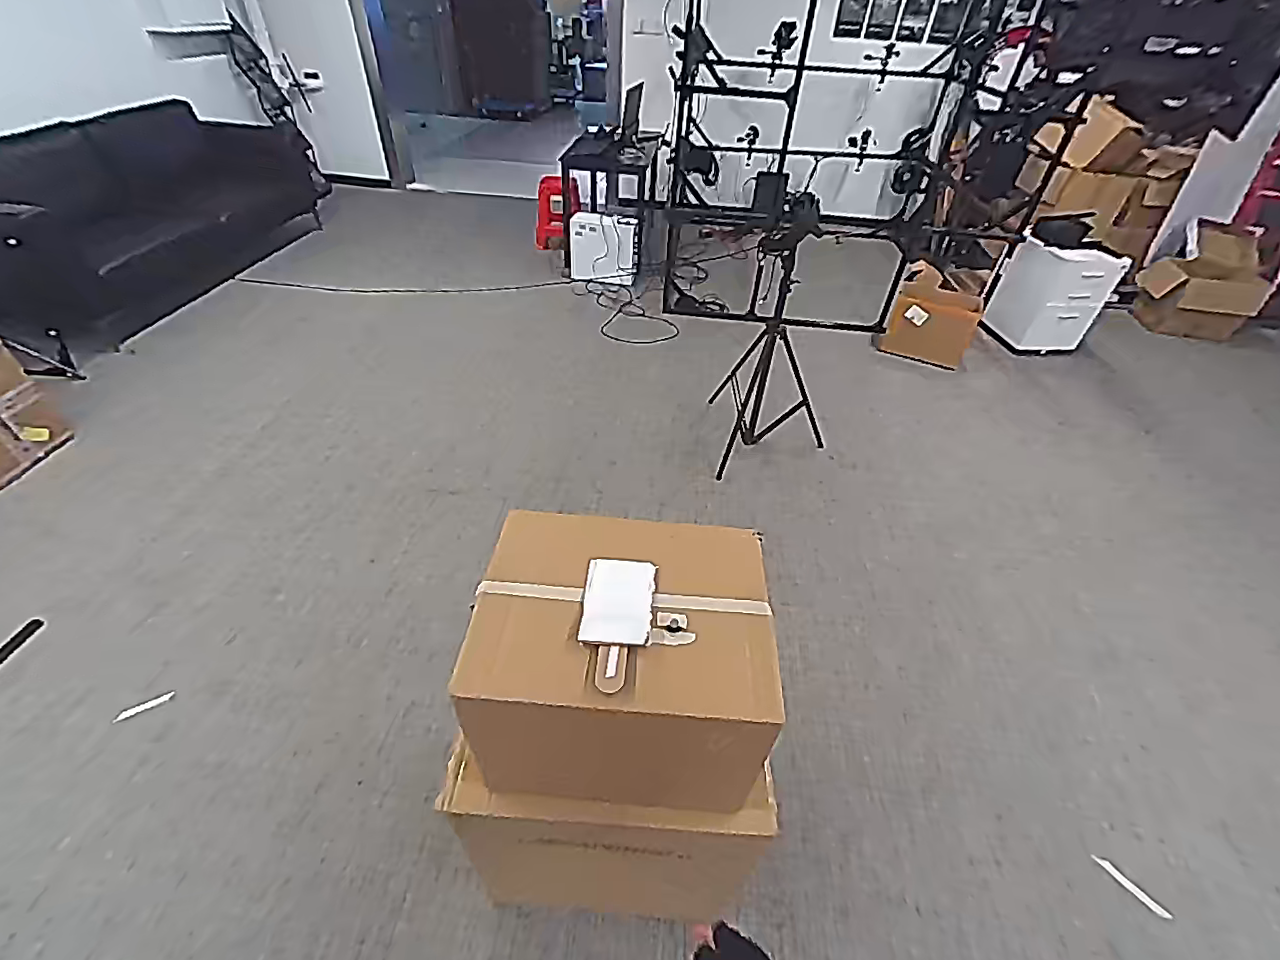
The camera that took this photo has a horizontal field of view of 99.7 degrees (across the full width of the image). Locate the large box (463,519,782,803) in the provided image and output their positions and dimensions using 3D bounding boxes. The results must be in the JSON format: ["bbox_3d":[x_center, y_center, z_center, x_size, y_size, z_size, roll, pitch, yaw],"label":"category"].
[{"bbox_3d":[-0.026,0.288,0.869,0.408,0.320,0.320,5,42,0],"label":"large box"}]
